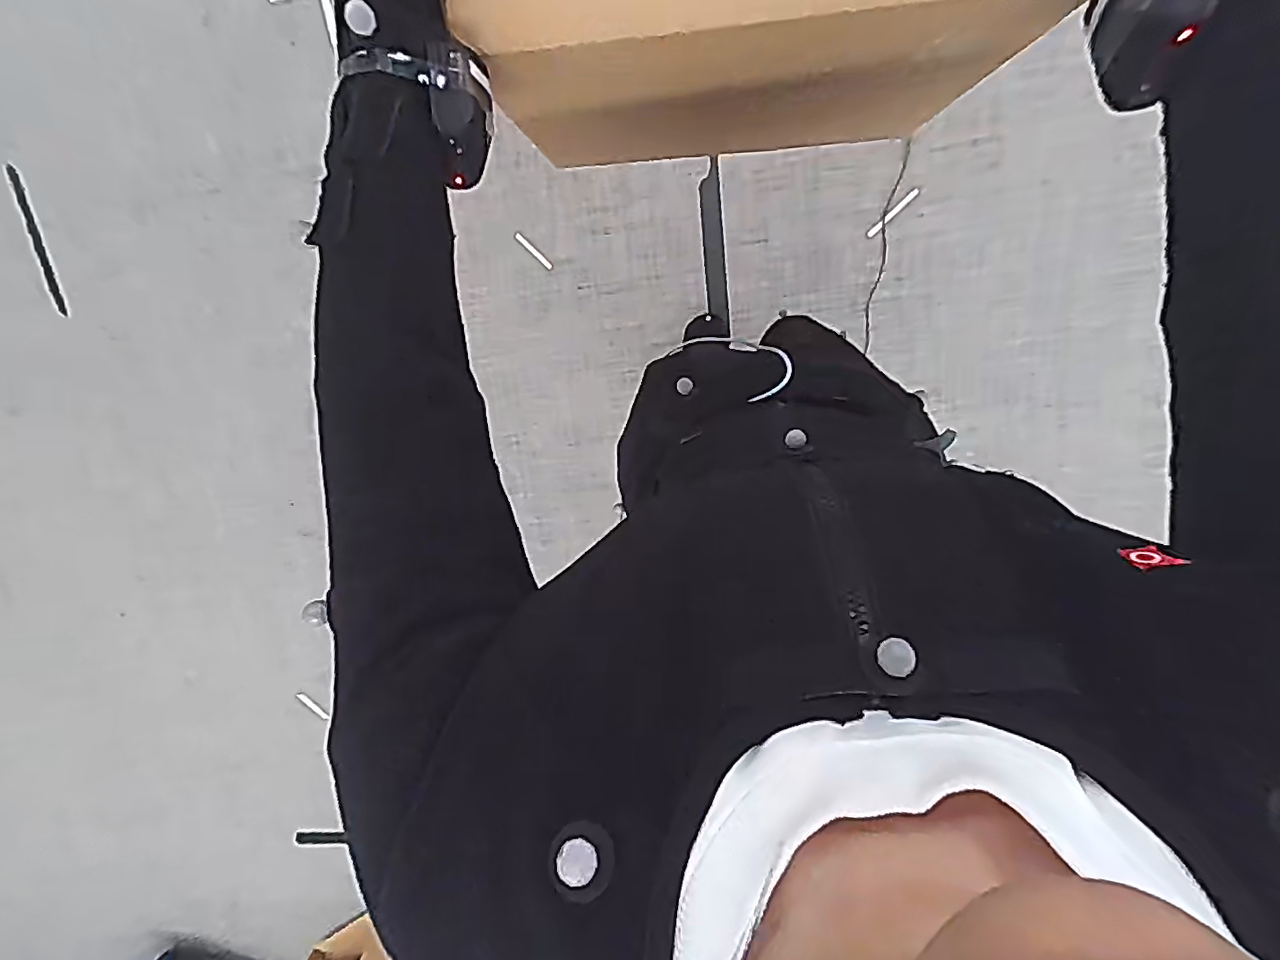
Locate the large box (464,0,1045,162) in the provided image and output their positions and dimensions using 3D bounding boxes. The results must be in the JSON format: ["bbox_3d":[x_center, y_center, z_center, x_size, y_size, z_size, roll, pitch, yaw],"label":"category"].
[{"bbox_3d":[0.078,-0.487,0.436,0.408,0.320,0.320,-3,108,4],"label":"large box"}]
